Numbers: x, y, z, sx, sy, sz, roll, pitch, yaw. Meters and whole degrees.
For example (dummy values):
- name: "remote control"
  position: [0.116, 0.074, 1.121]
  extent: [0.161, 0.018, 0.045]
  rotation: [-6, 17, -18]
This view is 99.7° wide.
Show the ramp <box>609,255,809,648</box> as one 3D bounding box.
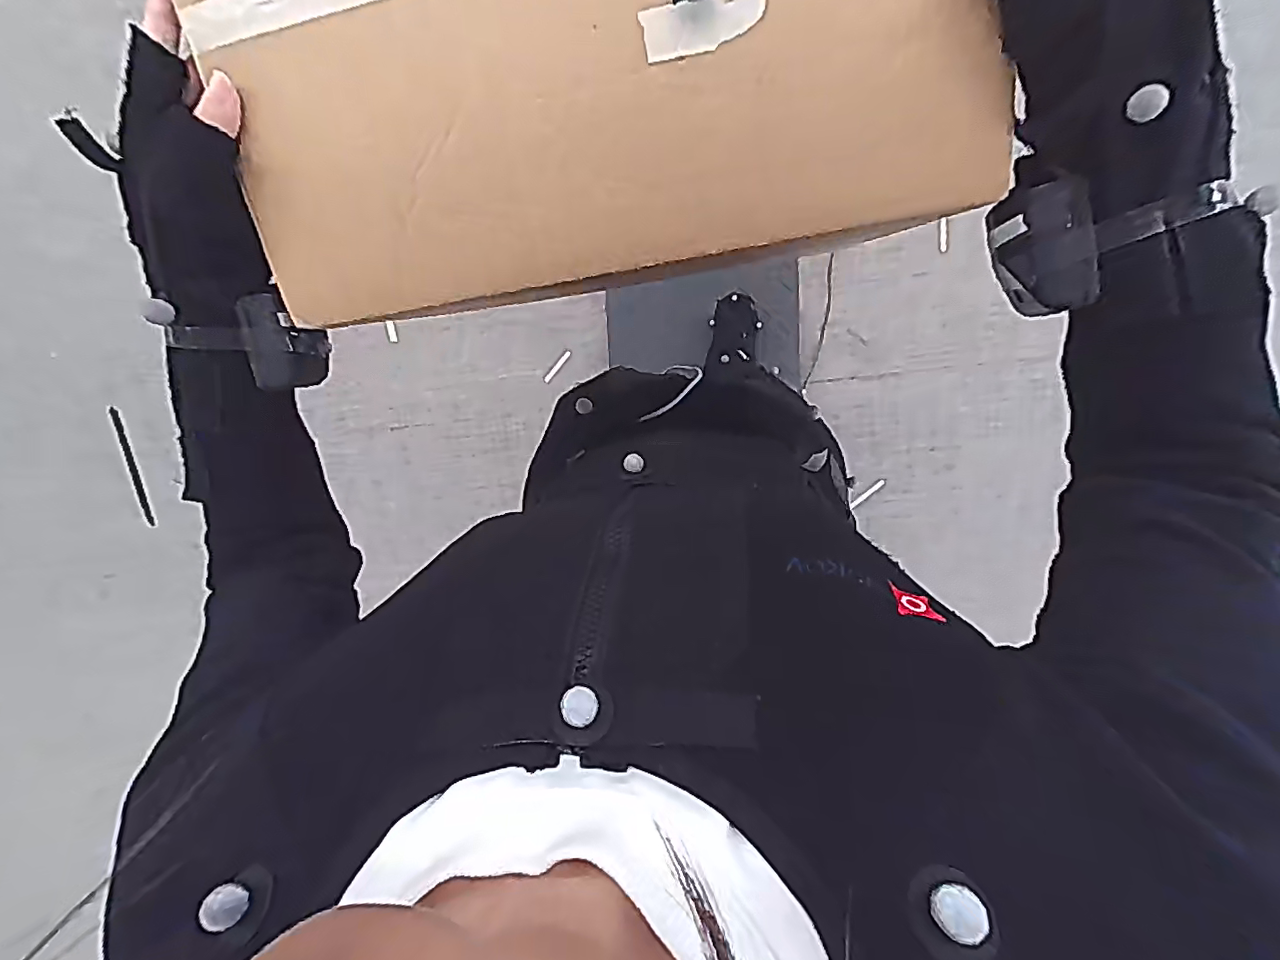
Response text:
- name: "ramp"
  position: [0.175, -0.059, 1.409]
  extent: [0.509, 0.206, 0.991]
  rotation: [-3, 102, 10]

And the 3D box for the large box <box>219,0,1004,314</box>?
- name: "large box"
  position: [-0.018, -0.323, 0.403]
  extent: [0.408, 0.320, 0.320]
  rotation: [-7, 109, 10]
